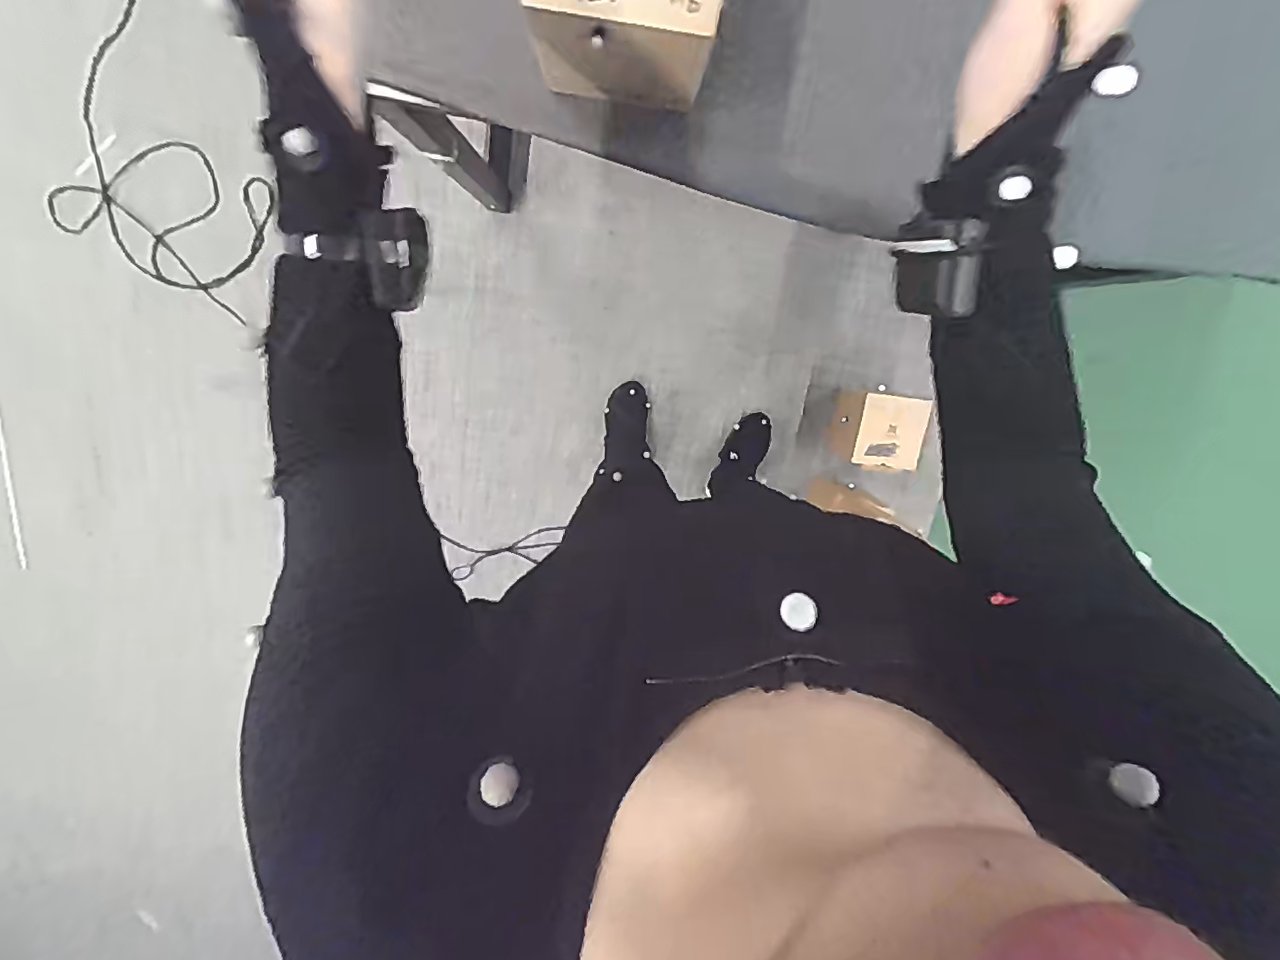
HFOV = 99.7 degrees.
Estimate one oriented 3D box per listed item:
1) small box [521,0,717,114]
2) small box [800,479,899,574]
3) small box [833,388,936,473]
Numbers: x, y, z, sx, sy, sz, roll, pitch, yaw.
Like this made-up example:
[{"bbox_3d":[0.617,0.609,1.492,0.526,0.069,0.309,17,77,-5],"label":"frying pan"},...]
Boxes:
[{"bbox_3d":[-0.012,-0.485,0.508,0.168,0.176,0.179,7,105,-3],"label":"small box"},{"bbox_3d":[0.545,0.118,1.438,0.168,0.176,0.179,17,104,-5],"label":"small box"},{"bbox_3d":[0.608,-0.130,1.371,0.168,0.176,0.179,7,104,-3],"label":"small box"}]
